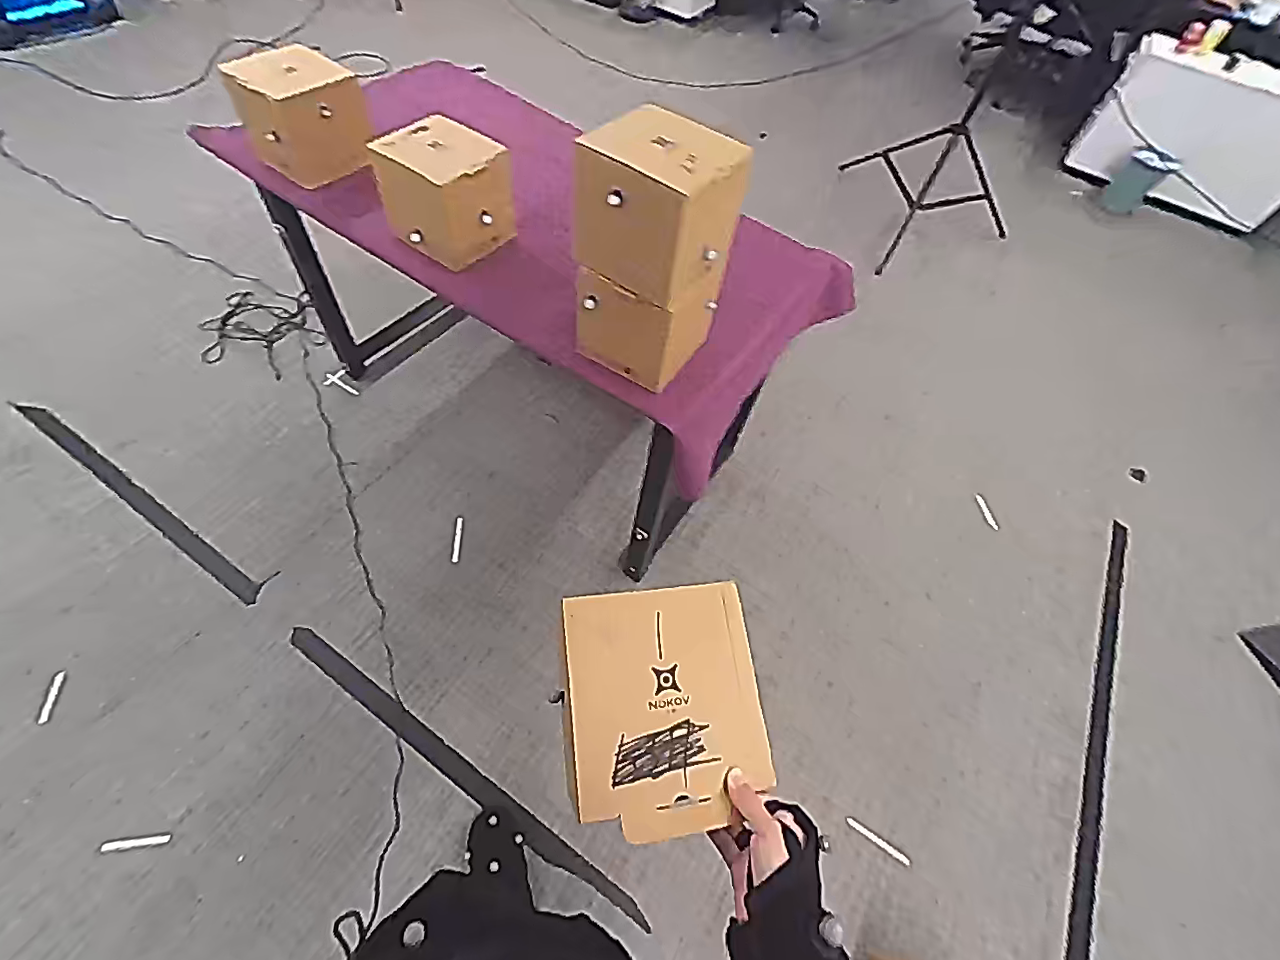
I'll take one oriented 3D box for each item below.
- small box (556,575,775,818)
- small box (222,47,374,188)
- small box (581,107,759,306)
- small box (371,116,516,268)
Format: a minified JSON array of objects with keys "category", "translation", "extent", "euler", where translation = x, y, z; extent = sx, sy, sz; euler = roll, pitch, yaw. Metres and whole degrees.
[{"category":"small box","translation":[0.008,0.204,0.530],"extent":[0.168,0.176,0.179],"euler":[-4,67,-13]},{"category":"small box","translation":[-0.662,-0.717,1.077],"extent":[0.168,0.176,0.179],"euler":[34,58,12]},{"category":"small box","translation":[0.032,-0.376,0.752],"extent":[0.179,0.176,0.168],"euler":[34,59,15]},{"category":"small box","translation":[-0.346,-0.520,0.992],"extent":[0.179,0.176,0.168],"euler":[33,59,13]}]
